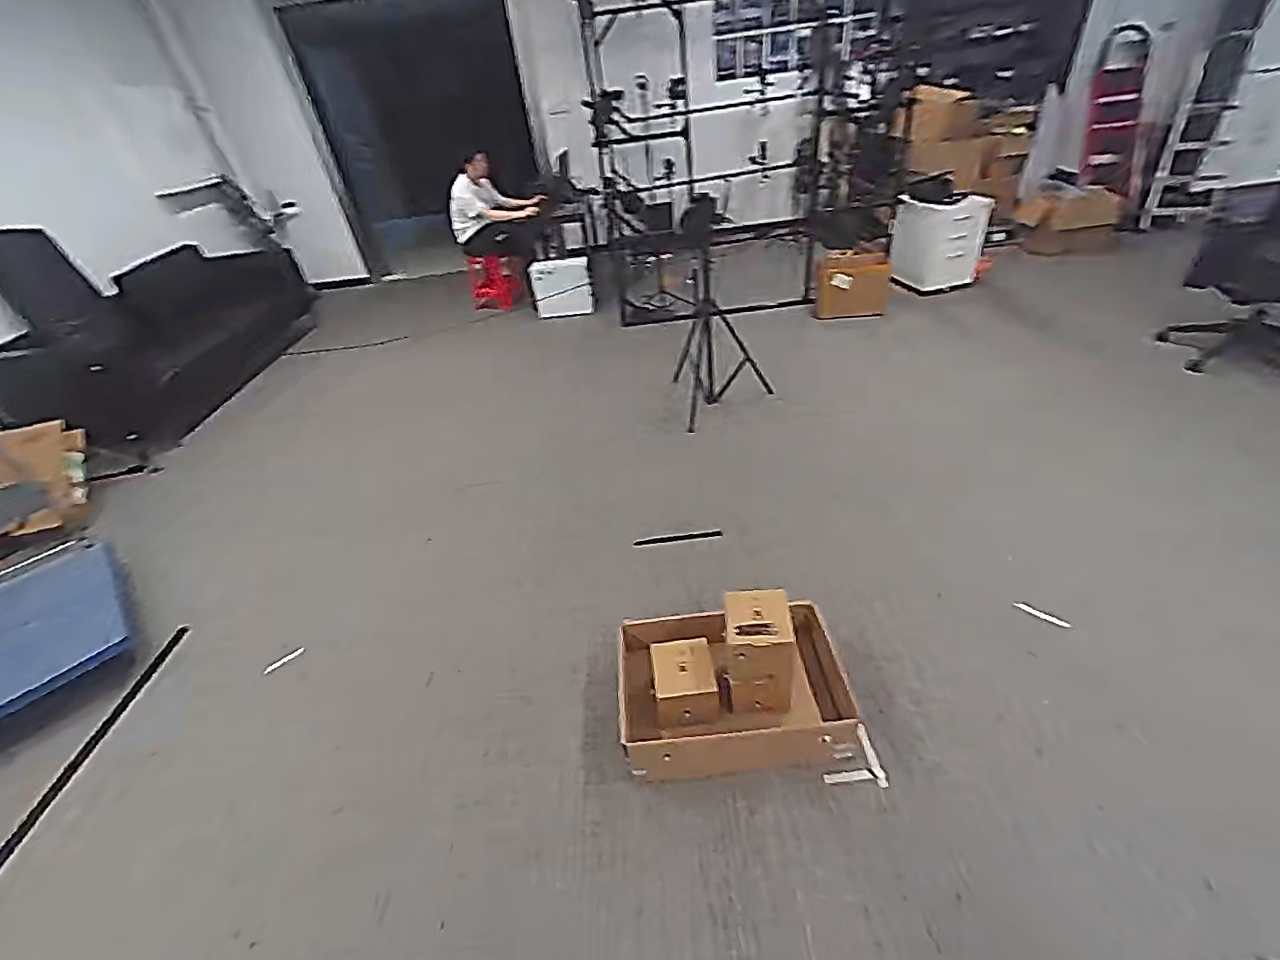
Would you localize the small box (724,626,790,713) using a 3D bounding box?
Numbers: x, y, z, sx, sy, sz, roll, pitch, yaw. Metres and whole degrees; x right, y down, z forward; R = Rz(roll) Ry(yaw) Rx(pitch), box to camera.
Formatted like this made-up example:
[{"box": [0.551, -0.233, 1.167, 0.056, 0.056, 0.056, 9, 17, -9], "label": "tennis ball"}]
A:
[{"box": [0.335, 0.550, 1.568, 0.168, 0.176, 0.179, -6, 37, 6], "label": "small box"}]

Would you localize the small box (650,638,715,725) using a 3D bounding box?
[{"box": [0.122, 0.585, 1.555, 0.168, 0.176, 0.179, -6, 36, -2], "label": "small box"}]
